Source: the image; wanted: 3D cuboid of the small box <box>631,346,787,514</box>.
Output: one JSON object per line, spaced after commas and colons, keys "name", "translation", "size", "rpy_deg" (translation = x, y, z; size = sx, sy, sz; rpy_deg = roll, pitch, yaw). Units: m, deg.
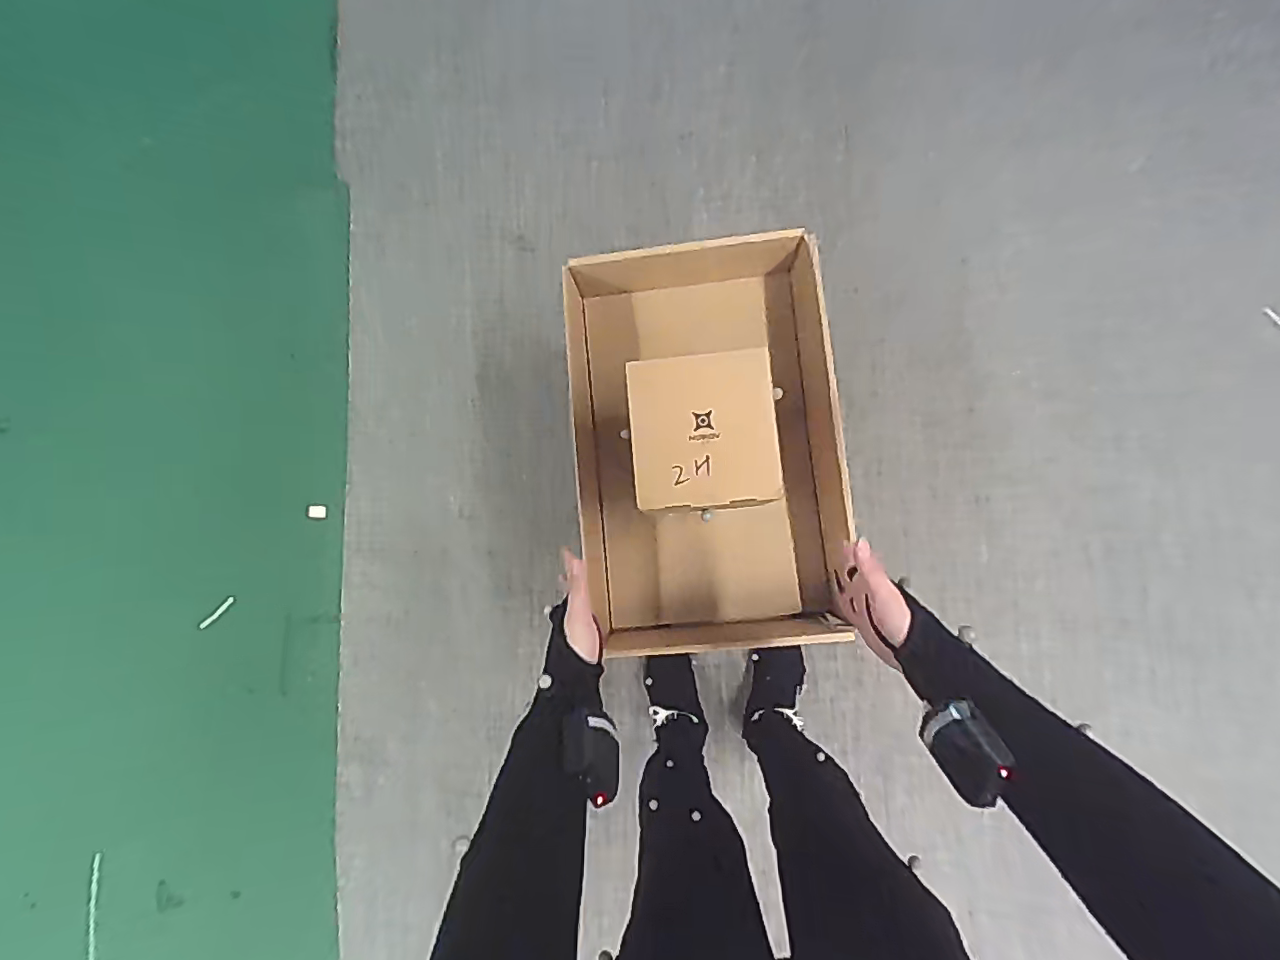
{"name": "small box", "translation": [0.081, -0.052, 0.685], "size": [0.168, 0.176, 0.179], "rpy_deg": [-5, 84, 5]}
